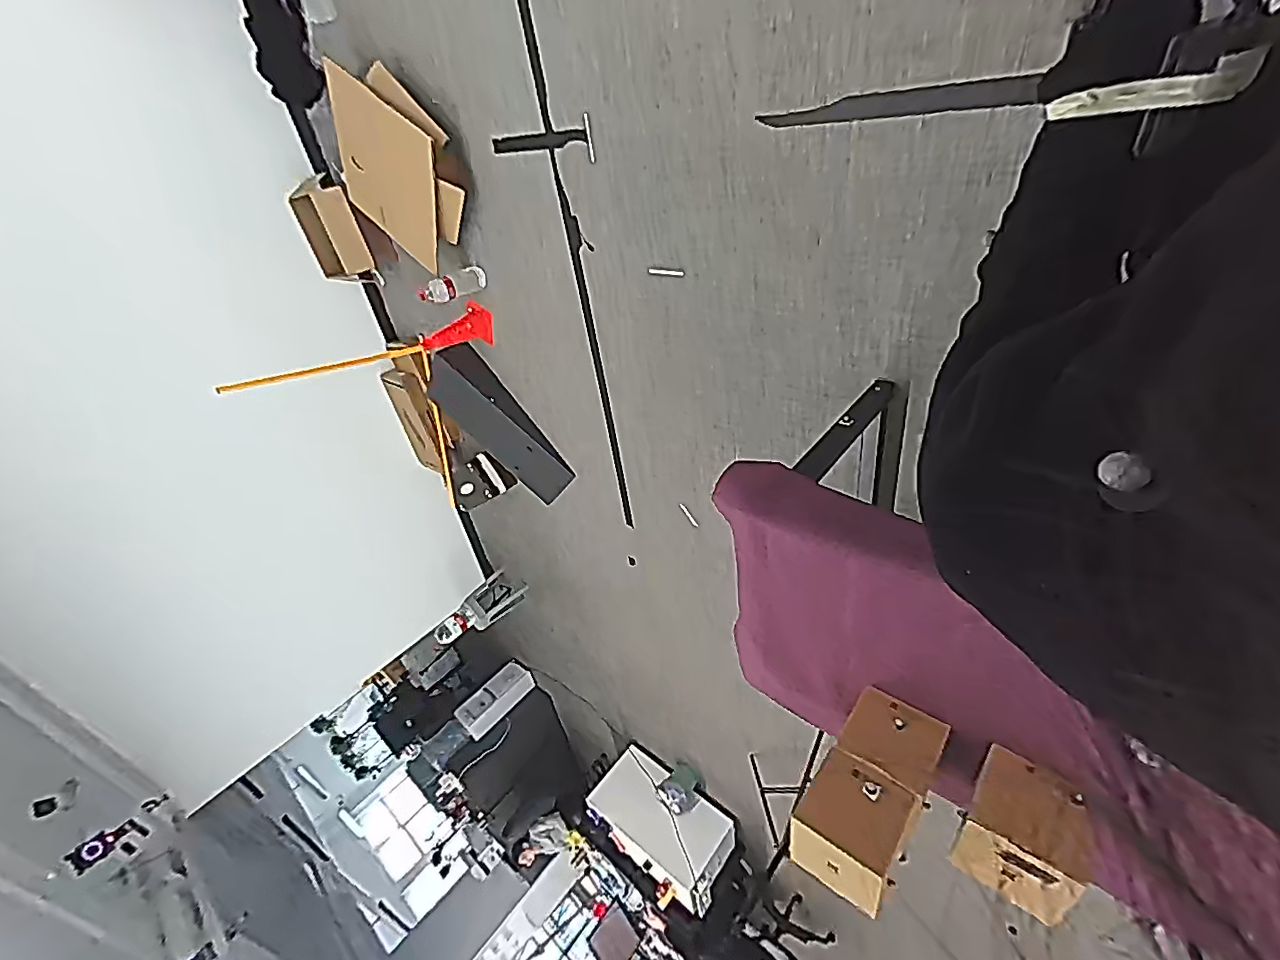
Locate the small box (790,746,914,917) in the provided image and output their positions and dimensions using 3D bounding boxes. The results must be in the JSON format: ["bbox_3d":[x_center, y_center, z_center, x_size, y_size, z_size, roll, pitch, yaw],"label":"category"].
[{"bbox_3d":[0.397,0.649,1.015,0.168,0.176,0.179,18,132,37],"label":"small box"}]

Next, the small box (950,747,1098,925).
[{"bbox_3d":[0.677,0.616,0.955,0.168,0.176,0.179,21,135,36],"label":"small box"}]

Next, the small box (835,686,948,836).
[{"bbox_3d":[0.505,0.565,1.102,0.168,0.176,0.179,21,134,35],"label":"small box"}]
